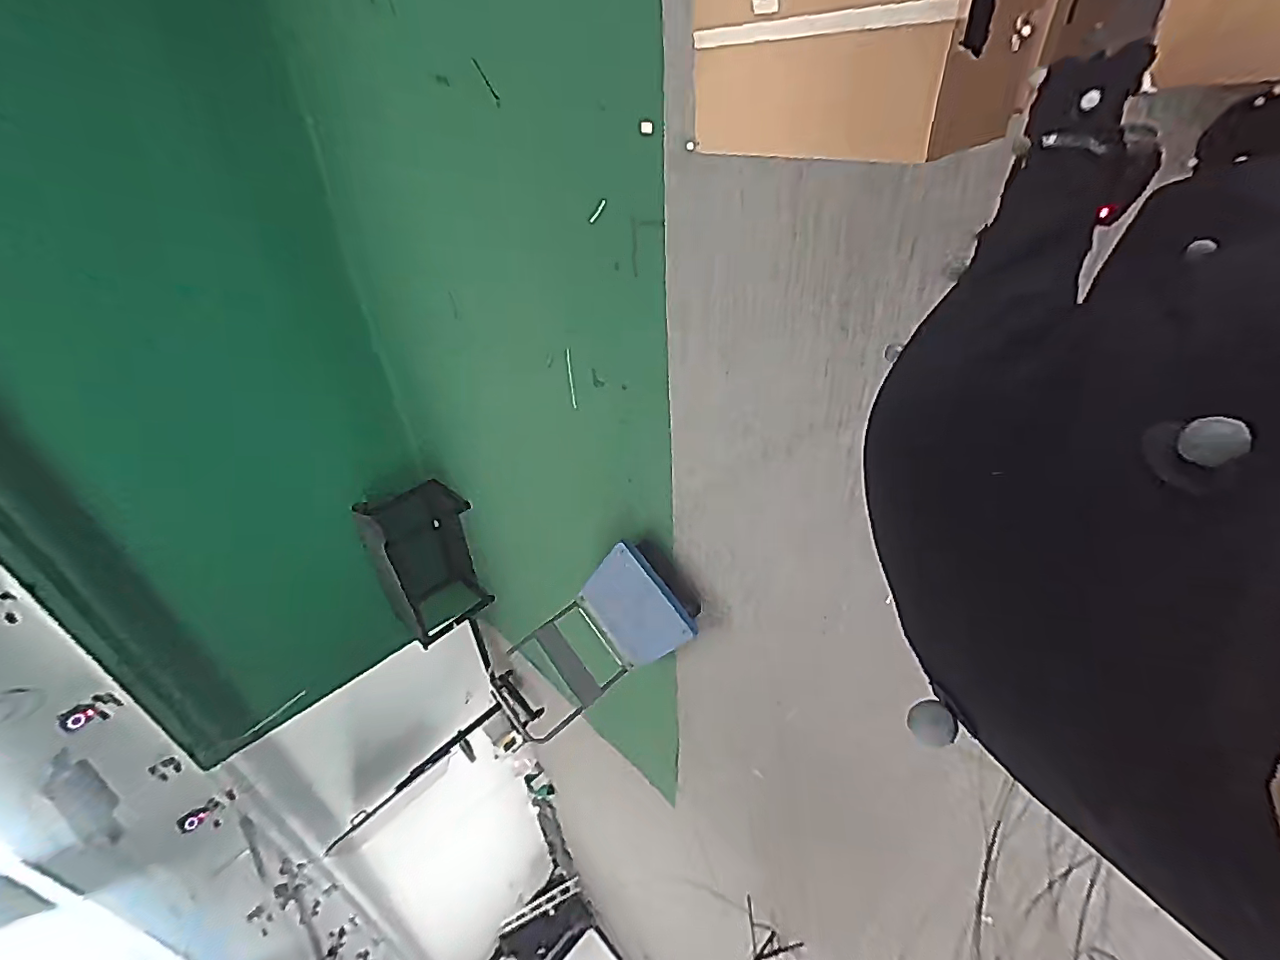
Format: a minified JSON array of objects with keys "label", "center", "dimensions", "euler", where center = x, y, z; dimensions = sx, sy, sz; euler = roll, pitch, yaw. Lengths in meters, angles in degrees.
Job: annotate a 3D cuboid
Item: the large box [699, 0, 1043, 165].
[{"label":"large box","center":[0.343,-0.687,0.825],"dimensions":[0.408,0.320,0.320],"euler":[30,138,37]}]
